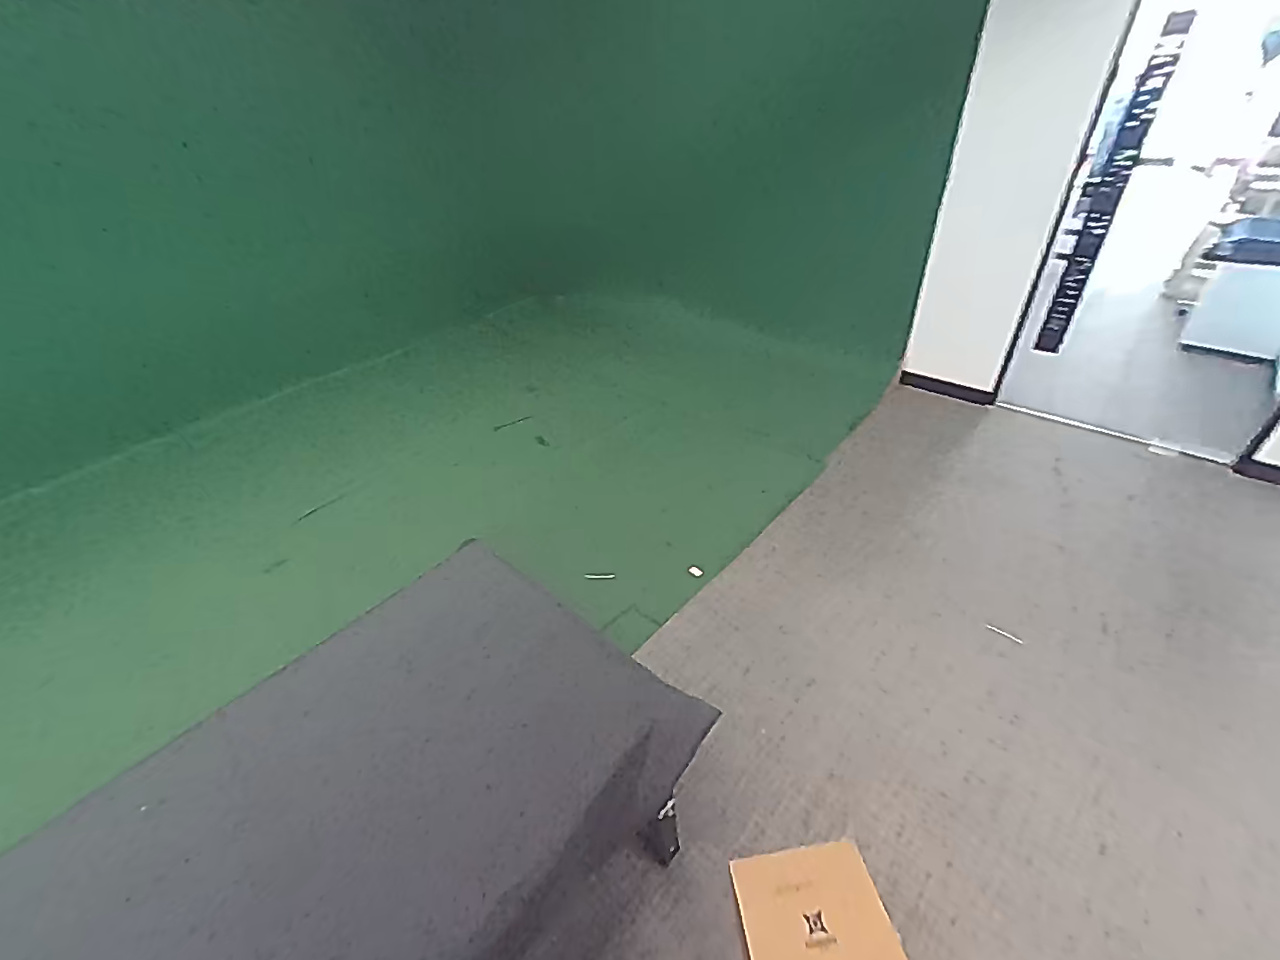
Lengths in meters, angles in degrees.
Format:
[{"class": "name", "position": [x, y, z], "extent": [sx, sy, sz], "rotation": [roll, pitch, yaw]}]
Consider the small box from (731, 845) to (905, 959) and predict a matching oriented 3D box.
[{"class": "small box", "position": [0.211, 0.584, 0.641], "extent": [0.168, 0.176, 0.179], "rotation": [-7, 21, -2]}]
